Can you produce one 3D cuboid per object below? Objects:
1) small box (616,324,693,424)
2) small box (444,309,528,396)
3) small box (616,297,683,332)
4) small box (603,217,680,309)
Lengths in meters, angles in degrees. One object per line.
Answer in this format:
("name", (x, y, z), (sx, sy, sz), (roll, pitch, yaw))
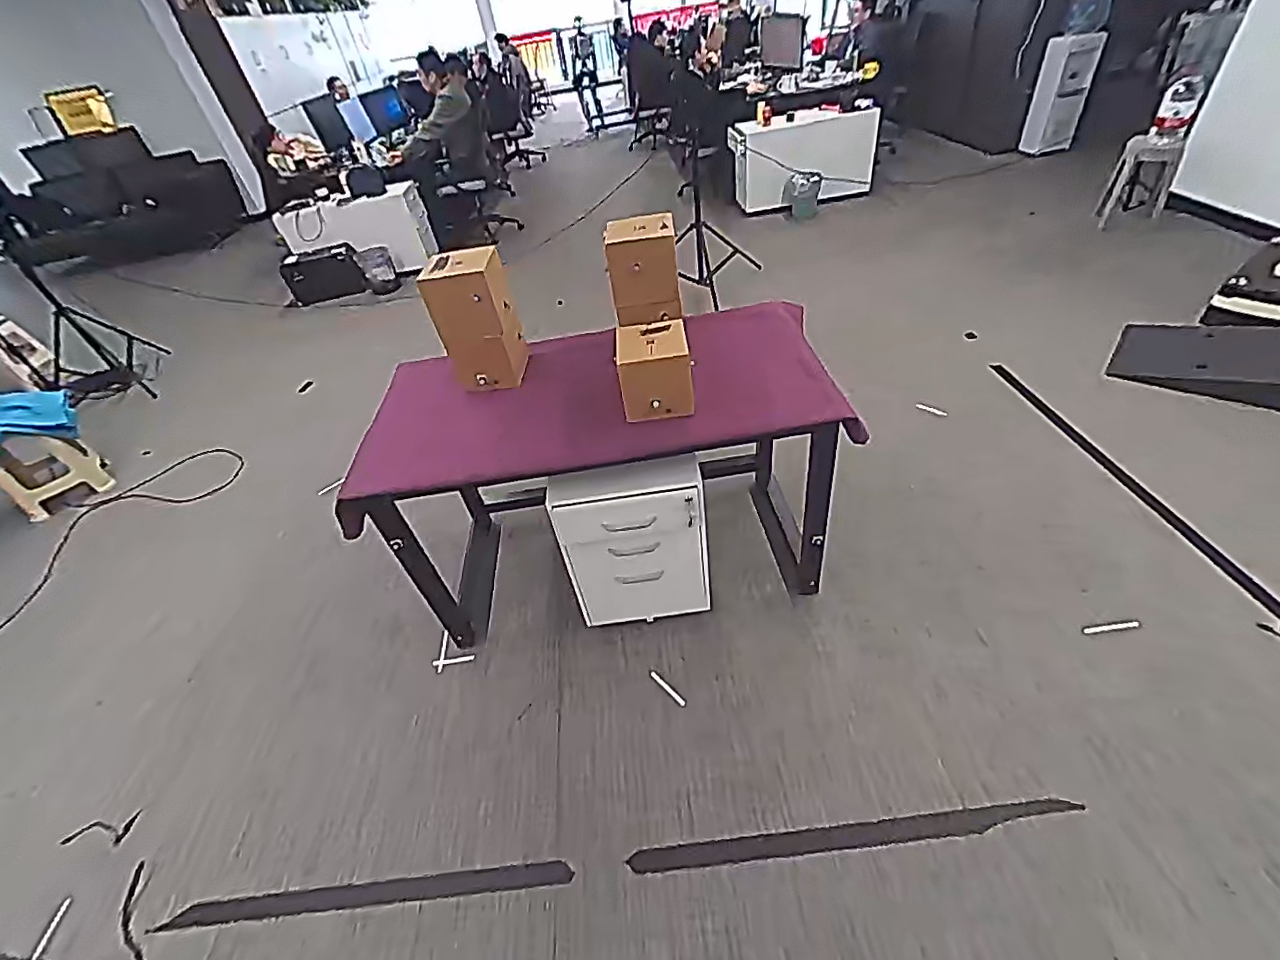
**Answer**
("small box", (0.037, -0.257, 1.321), (0.168, 0.176, 0.179), (-7, 41, 4))
("small box", (-0.426, -0.360, 1.532), (0.168, 0.176, 0.179), (-6, 44, 7))
("small box", (0.031, -0.447, 1.533), (0.179, 0.176, 0.168), (-7, 42, 5))
("small box", (0.007, -0.568, 1.424), (0.179, 0.176, 0.168), (-7, 43, 6))
